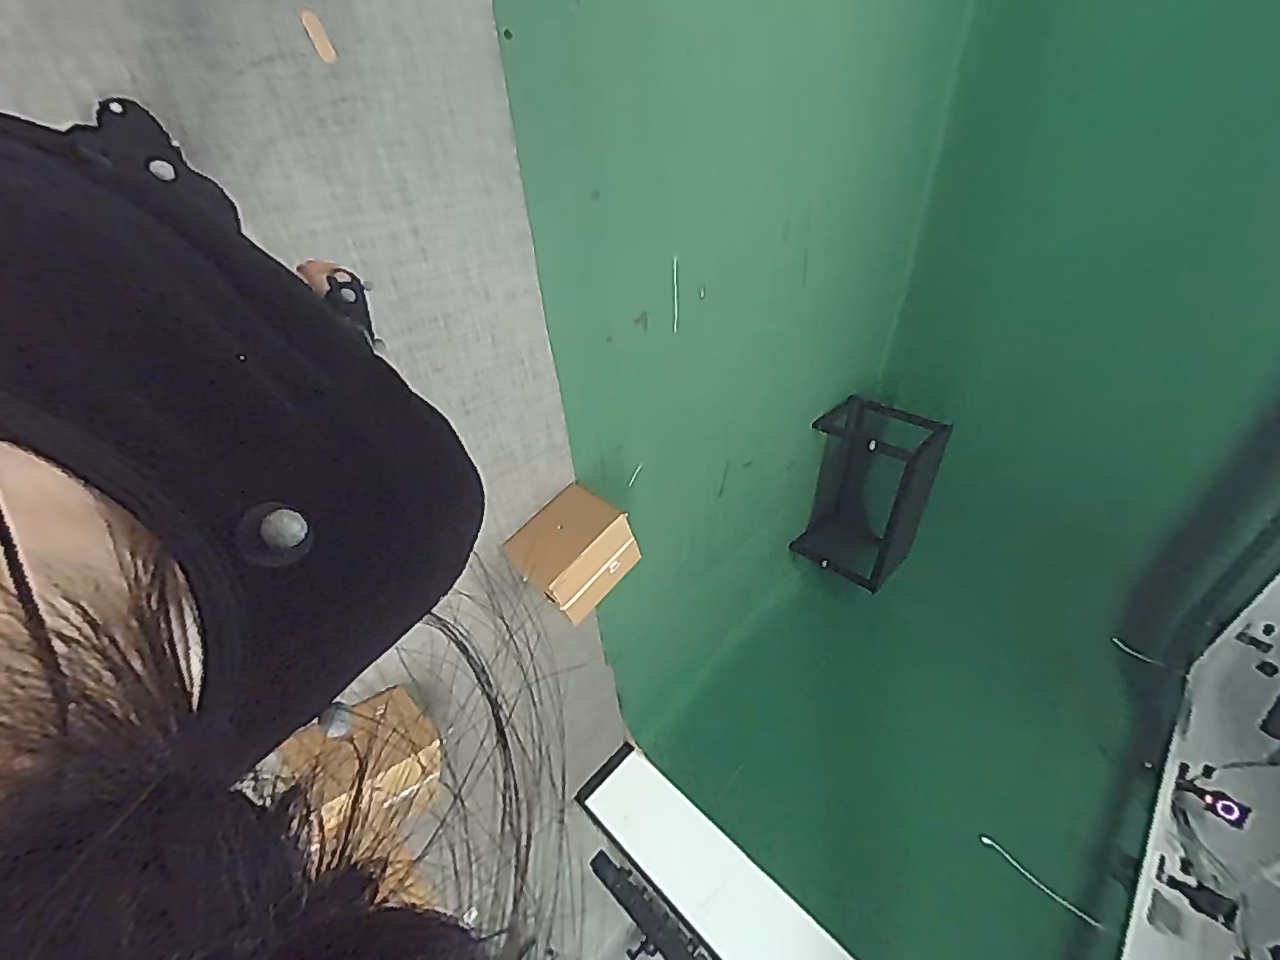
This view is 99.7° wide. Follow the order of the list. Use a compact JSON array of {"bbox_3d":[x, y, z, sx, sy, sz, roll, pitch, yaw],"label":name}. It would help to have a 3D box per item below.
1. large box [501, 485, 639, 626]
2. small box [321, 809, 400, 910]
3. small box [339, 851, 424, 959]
[{"bbox_3d":[-0.276,0.298,2.191,0.408,0.320,0.320,-45,142,-23],"label":"large box"},{"bbox_3d":[-0.851,1.156,1.646,0.168,0.176,0.179,-15,126,-45],"label":"small box"},{"bbox_3d":[-0.742,1.224,1.546,0.179,0.176,0.168,-14,125,-46],"label":"small box"}]
